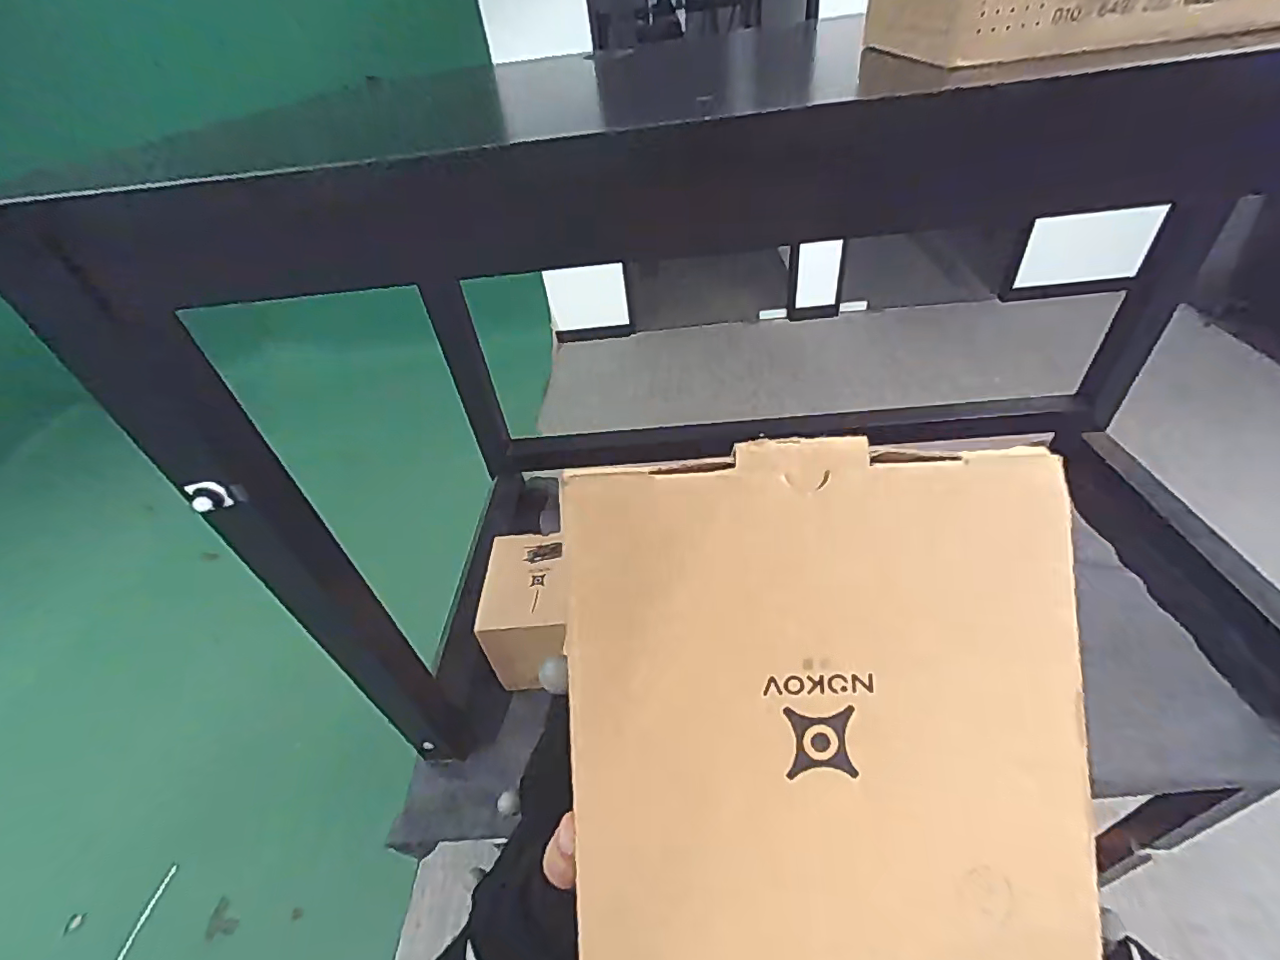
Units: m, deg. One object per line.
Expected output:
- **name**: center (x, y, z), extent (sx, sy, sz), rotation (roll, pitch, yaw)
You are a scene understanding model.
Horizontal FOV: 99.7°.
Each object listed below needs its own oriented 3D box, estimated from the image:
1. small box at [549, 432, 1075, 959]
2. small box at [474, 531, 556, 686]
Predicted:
- **small box**: center (0.057, 0.077, 0.260), extent (0.168, 0.179, 0.176), rotation (-3, -4, 2)
- **small box**: center (-0.139, 0.197, 0.845), extent (0.168, 0.176, 0.179), rotation (-5, 41, 3)
